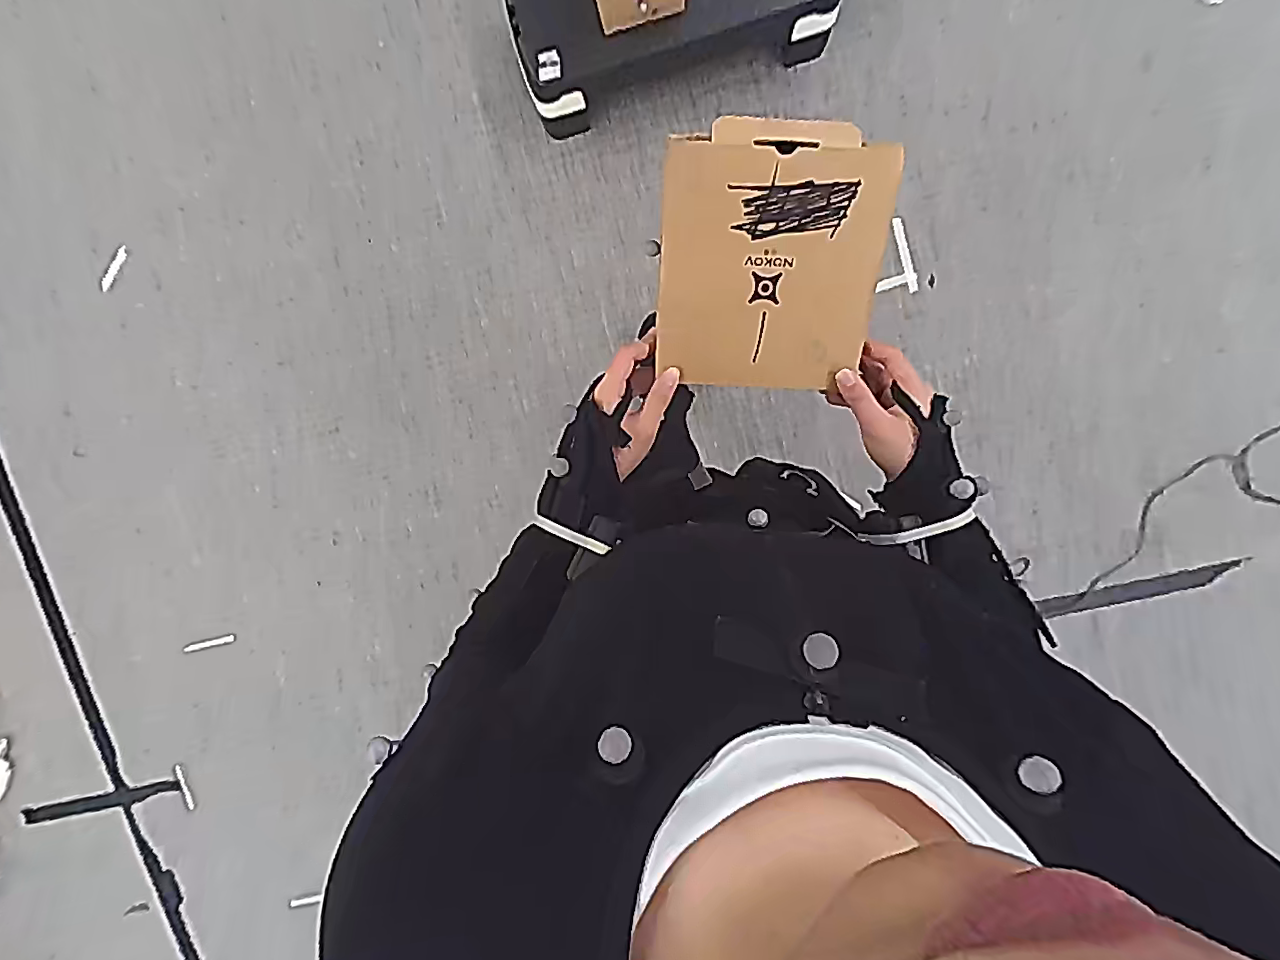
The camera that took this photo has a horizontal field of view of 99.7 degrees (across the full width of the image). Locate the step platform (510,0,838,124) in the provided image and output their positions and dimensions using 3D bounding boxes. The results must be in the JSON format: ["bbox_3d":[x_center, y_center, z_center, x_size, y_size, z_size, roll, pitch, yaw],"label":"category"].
[{"bbox_3d":[0.068,-1.037,1.148,0.684,0.204,0.286,-15,95,6],"label":"step platform"}]

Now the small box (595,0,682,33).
[{"bbox_3d":[-0.019,-0.980,0.985,0.168,0.176,0.179,-13,96,6],"label":"small box"}]

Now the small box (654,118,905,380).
[{"bbox_3d":[0.099,-0.201,0.479,0.168,0.176,0.179,3,117,0],"label":"small box"}]
